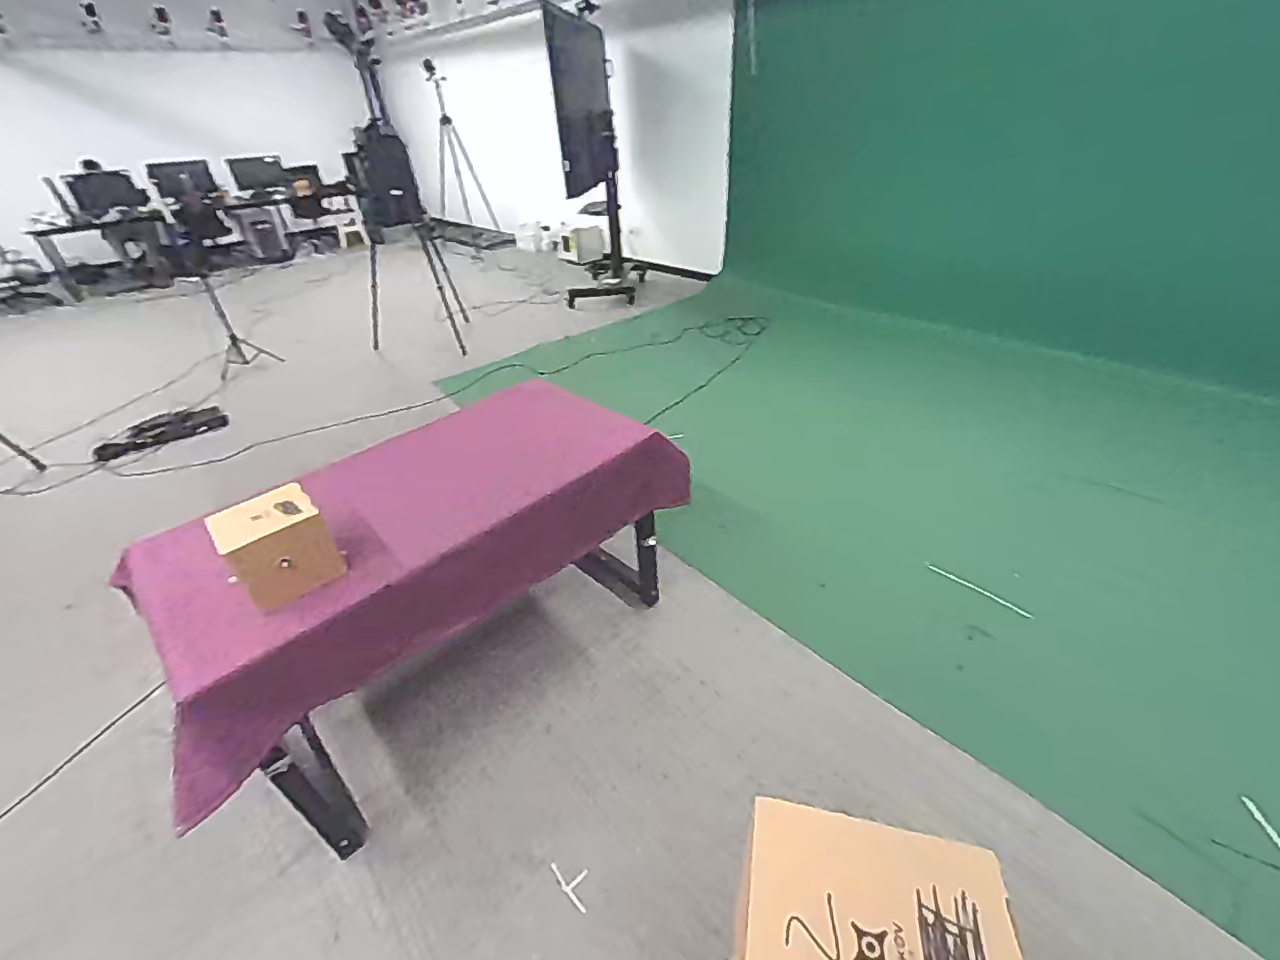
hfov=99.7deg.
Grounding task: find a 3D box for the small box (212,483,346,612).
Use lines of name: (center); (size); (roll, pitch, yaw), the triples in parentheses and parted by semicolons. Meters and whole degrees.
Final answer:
small box: (-0.746, 0.139, 1.134); (0.179, 0.176, 0.168); (-31, 43, -33)
